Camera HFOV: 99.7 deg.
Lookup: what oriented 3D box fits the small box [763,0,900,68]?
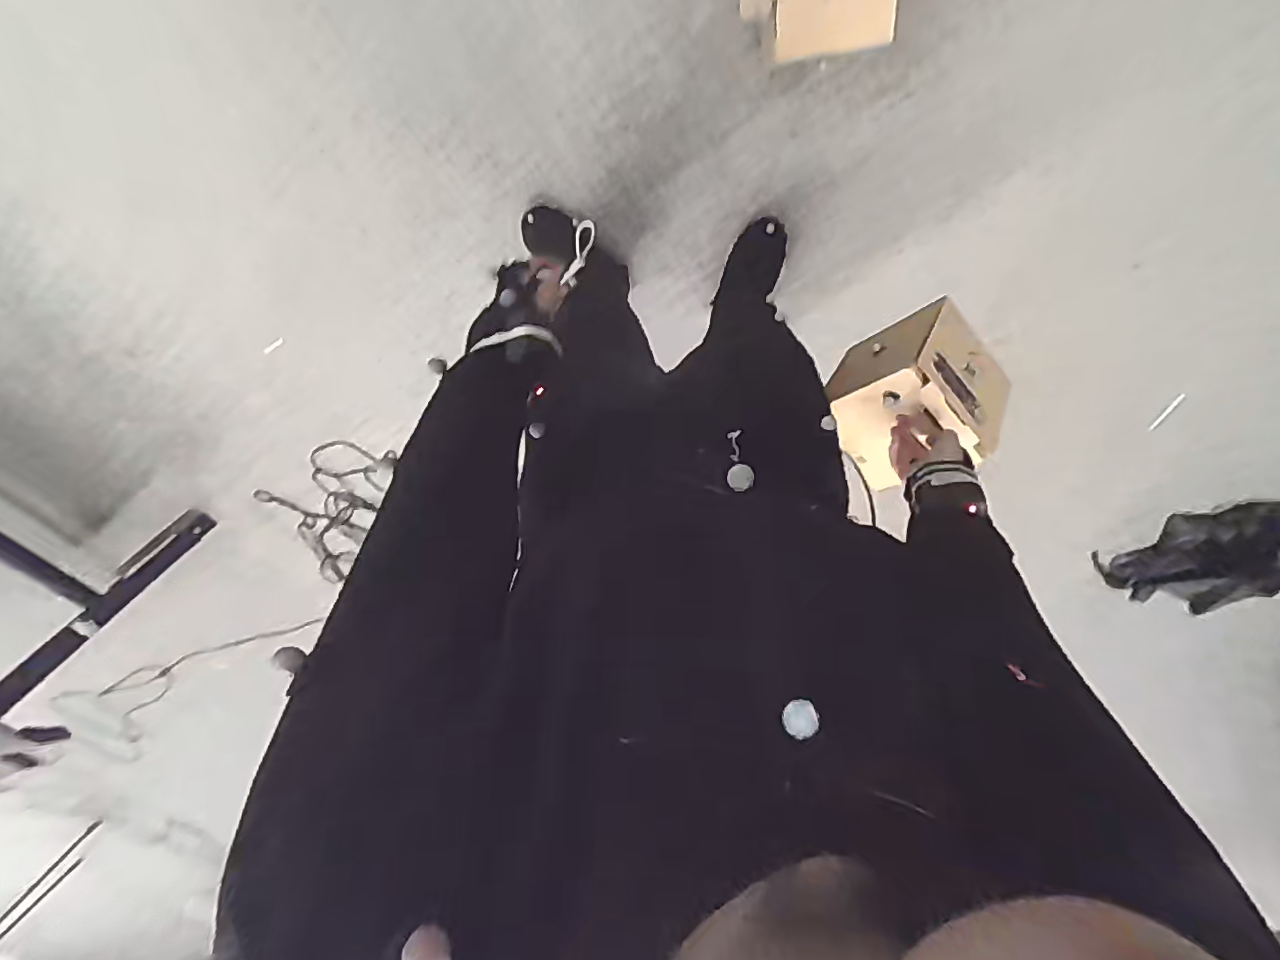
[{"bbox_3d":[0.288,-0.755,0.836,0.179,0.176,0.168,-5,124,9],"label":"small box"}]
